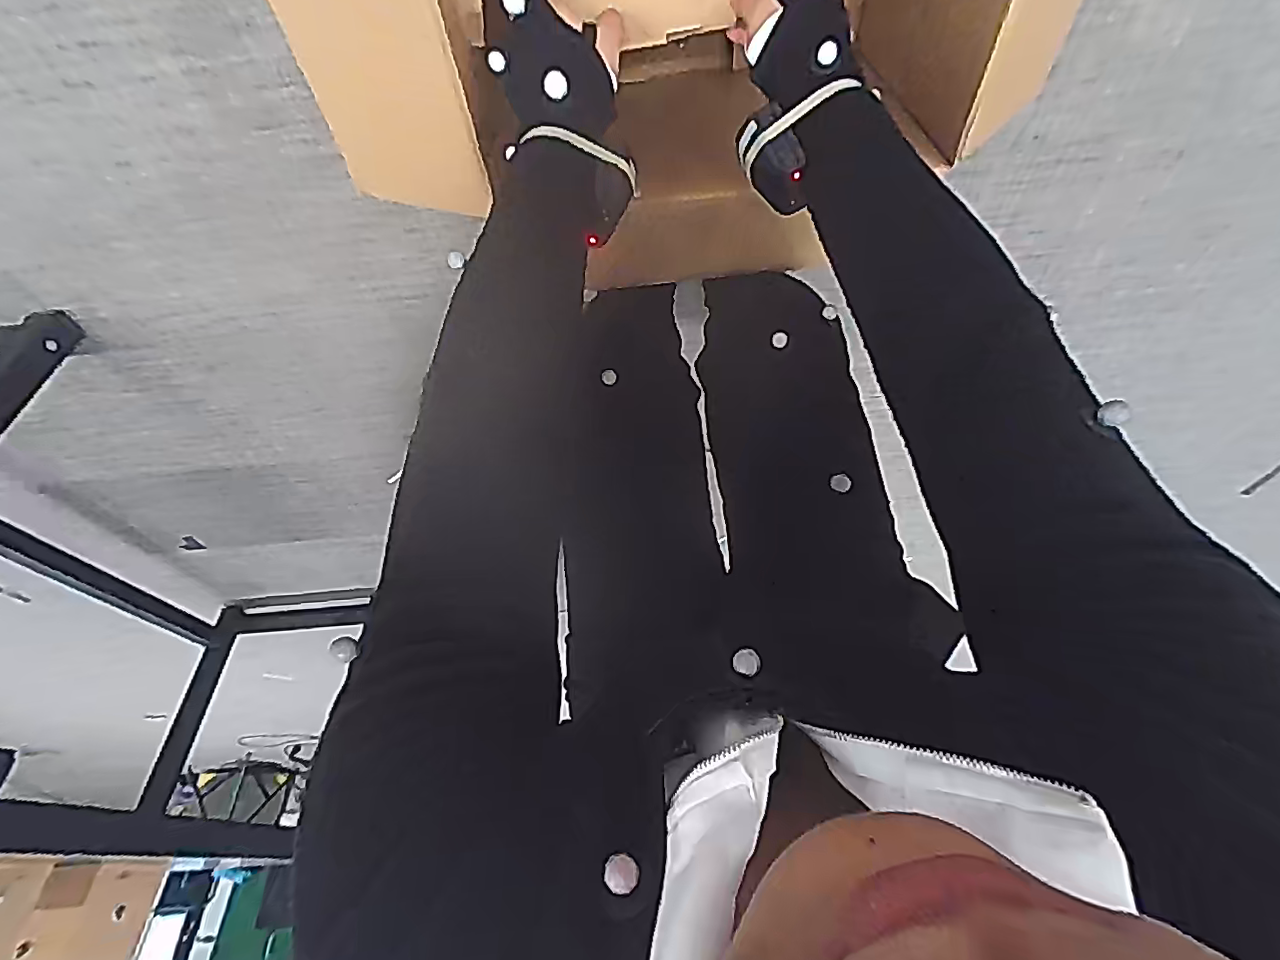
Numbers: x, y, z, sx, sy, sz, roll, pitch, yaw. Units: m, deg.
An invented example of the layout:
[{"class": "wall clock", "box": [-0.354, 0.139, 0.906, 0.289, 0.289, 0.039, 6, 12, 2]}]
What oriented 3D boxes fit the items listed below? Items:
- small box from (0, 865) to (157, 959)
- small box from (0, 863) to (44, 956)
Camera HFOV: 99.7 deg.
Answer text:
[{"class": "small box", "box": [-1.090, 0.846, 1.039, 0.179, 0.176, 0.168, -5, 144, 2]}, {"class": "small box", "box": [-1.102, 0.691, 0.824, 0.179, 0.176, 0.168, -5, 144, 2]}]
